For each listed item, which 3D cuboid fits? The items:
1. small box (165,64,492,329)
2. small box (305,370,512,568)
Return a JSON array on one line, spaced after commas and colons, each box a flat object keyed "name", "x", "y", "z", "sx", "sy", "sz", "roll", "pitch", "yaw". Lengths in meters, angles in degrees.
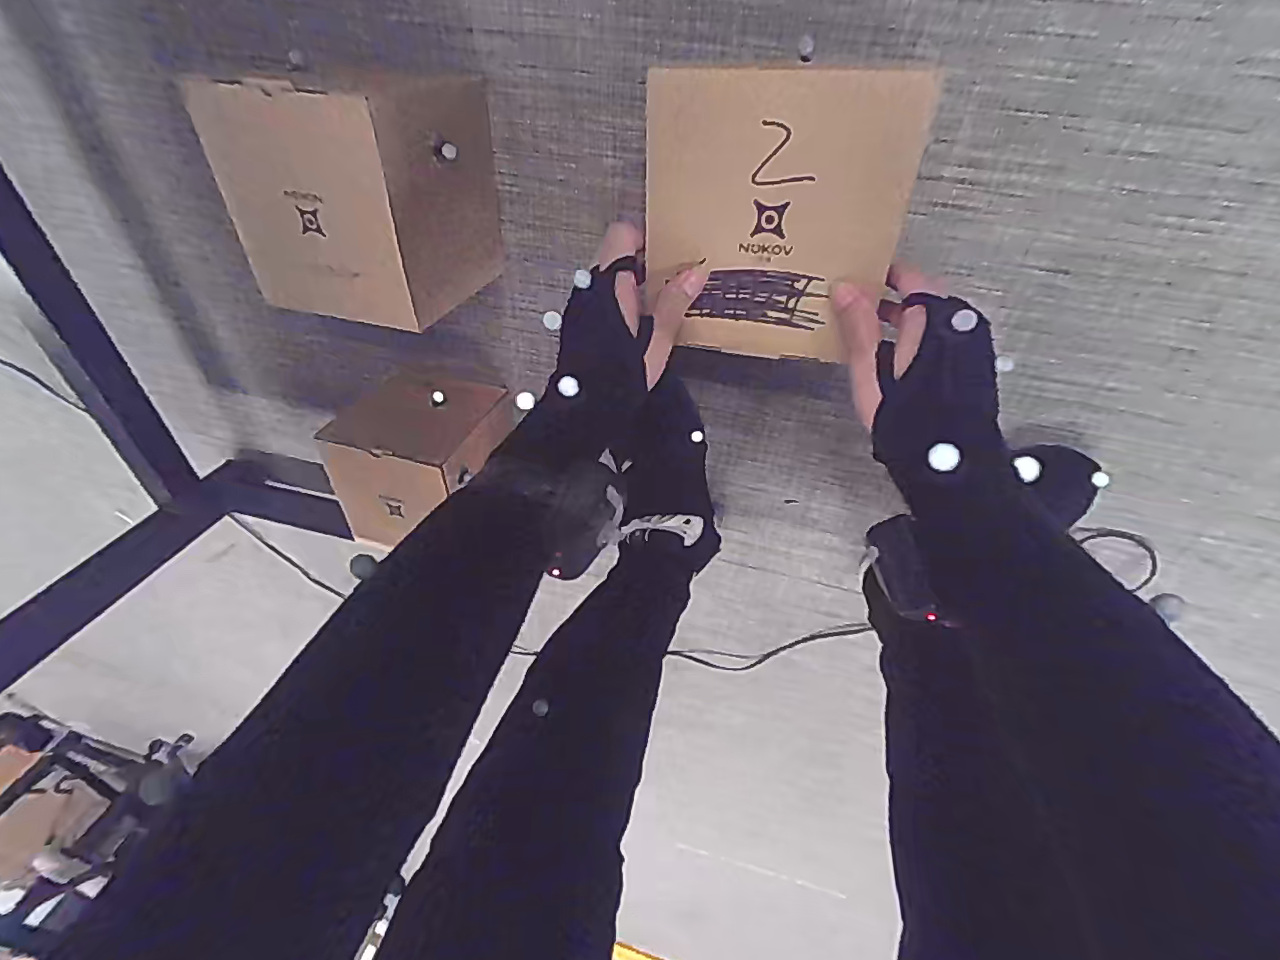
[{"name": "small box", "x": -0.254, "y": -0.265, "z": 0.495, "sx": 0.168, "sy": 0.176, "sz": 0.179, "roll": 13, "pitch": 131, "yaw": 10}, {"name": "small box", "x": -0.281, "y": -0.018, "z": 0.706, "sx": 0.168, "sy": 0.176, "sz": 0.179, "roll": 11, "pitch": 130, "yaw": 10}]
